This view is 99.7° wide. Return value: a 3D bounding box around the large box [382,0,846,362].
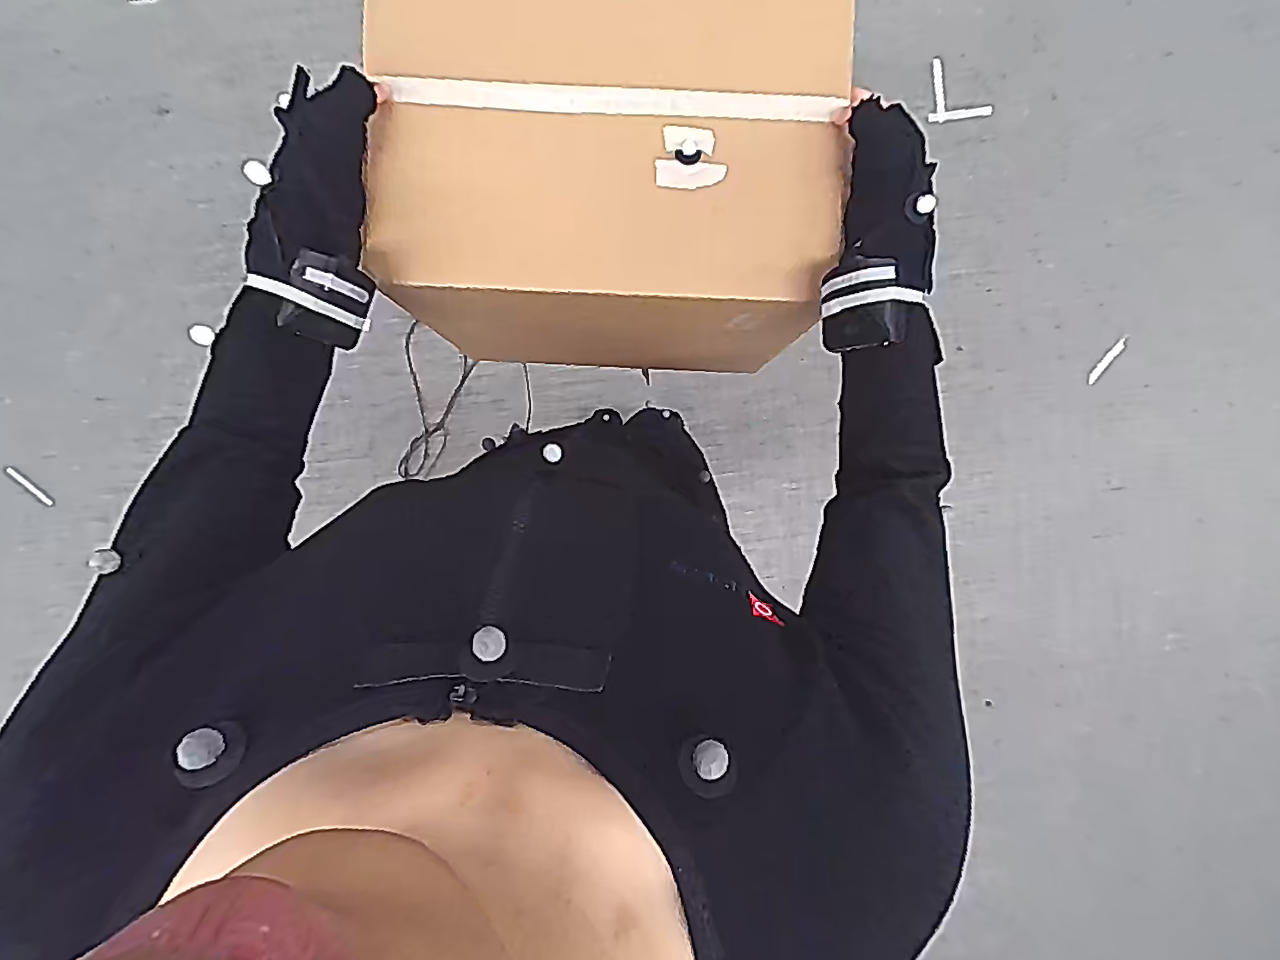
[{"bbox_3d":[-0.025,-0.321,0.615,0.408,0.320,0.320,2,91,-1],"label":"large box"}]
